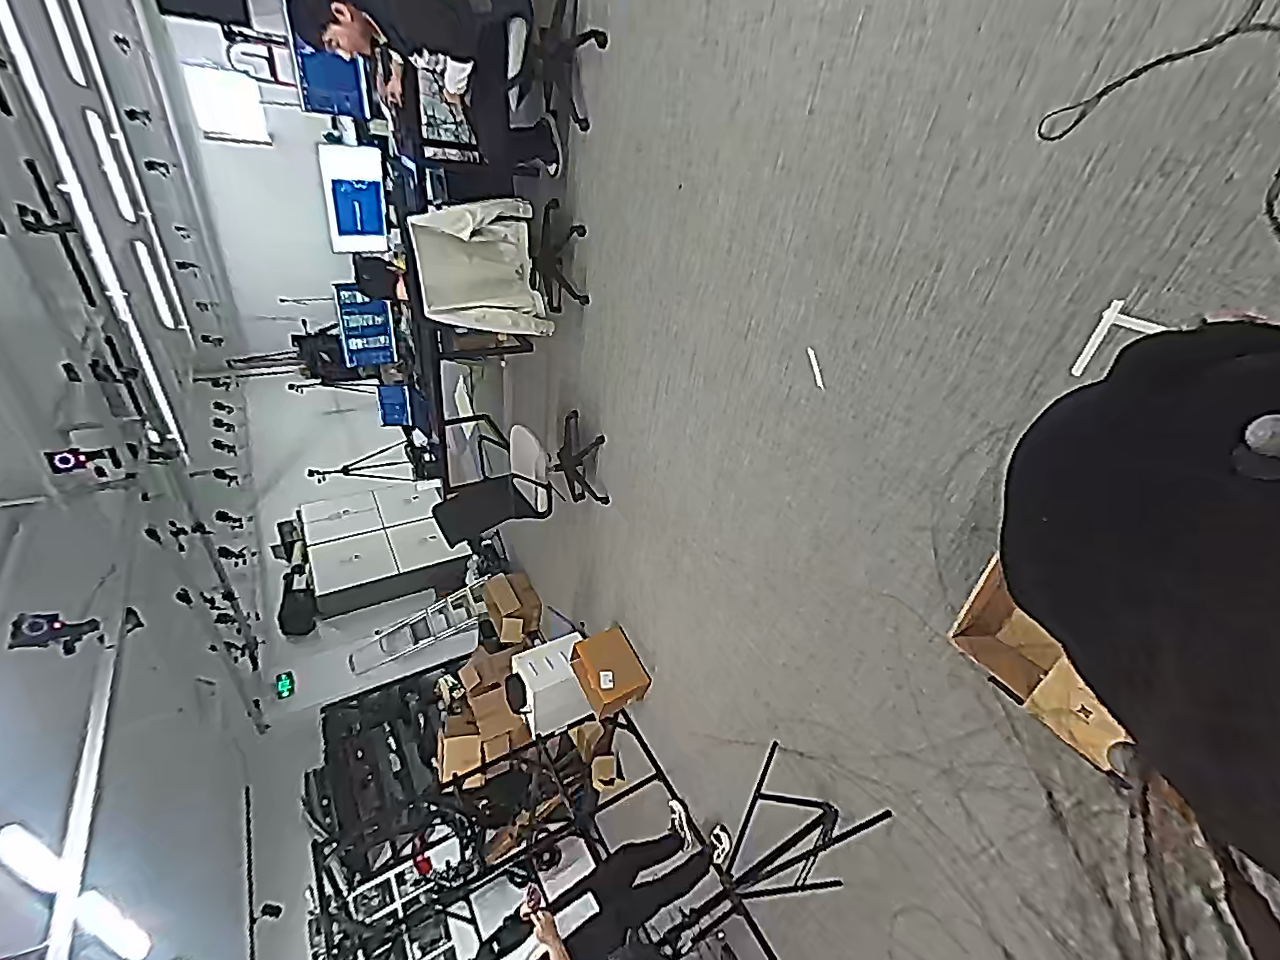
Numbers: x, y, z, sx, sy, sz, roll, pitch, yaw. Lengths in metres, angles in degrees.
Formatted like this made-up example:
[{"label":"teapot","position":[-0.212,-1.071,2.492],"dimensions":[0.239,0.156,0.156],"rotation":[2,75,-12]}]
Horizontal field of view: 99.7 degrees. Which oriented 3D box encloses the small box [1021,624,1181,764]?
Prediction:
[{"label":"small box","position":[0.936,0.428,1.101],"dimensions":[0.168,0.176,0.179],"rotation":[43,137,43]}]
